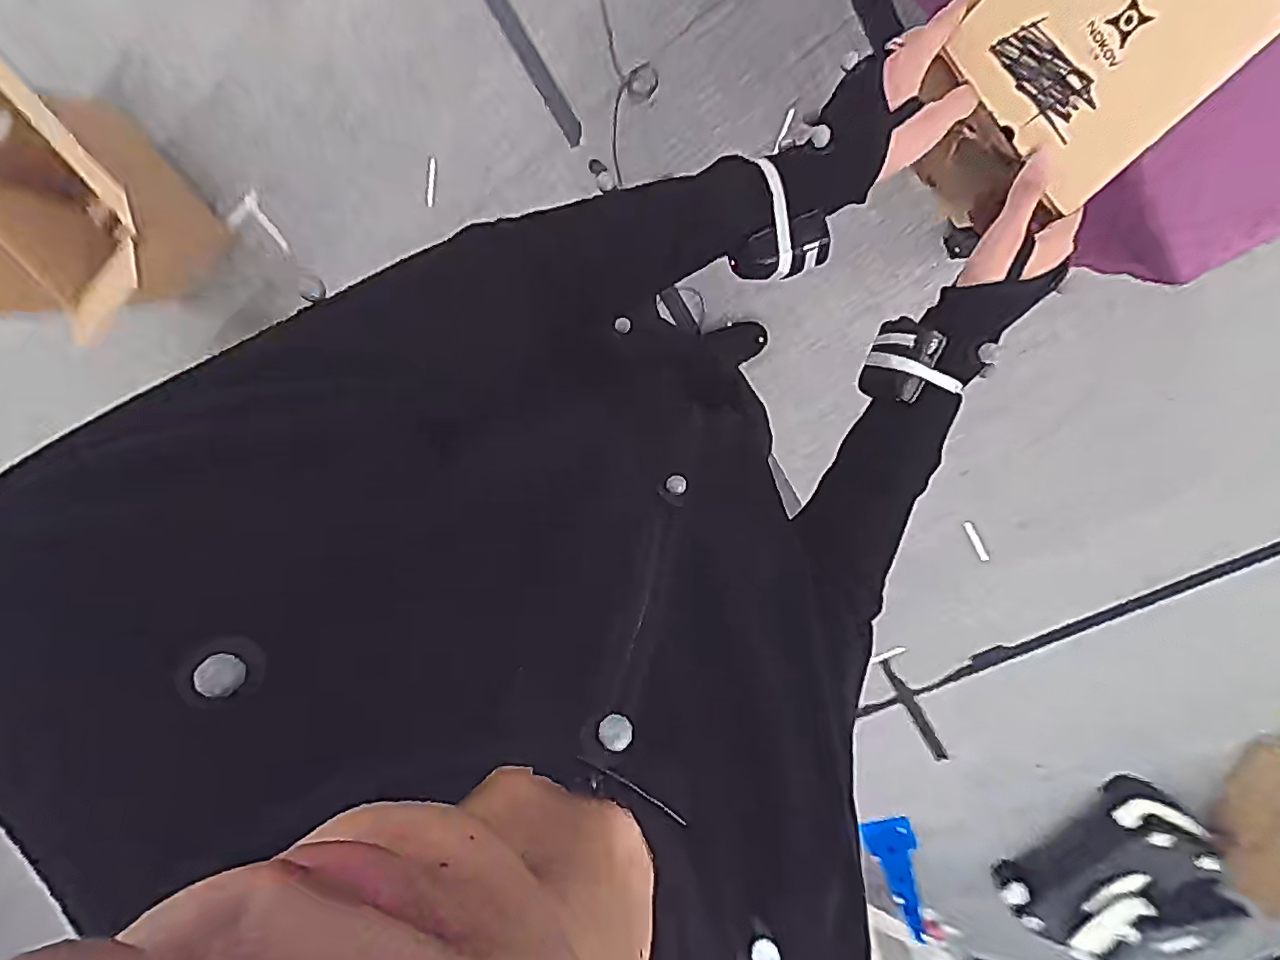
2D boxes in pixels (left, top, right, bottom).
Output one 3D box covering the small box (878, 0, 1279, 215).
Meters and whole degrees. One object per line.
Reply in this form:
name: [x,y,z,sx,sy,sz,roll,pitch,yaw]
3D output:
small box: [0.327,-0.346,0.446,0.168,0.176,0.179,41,108,-14]
